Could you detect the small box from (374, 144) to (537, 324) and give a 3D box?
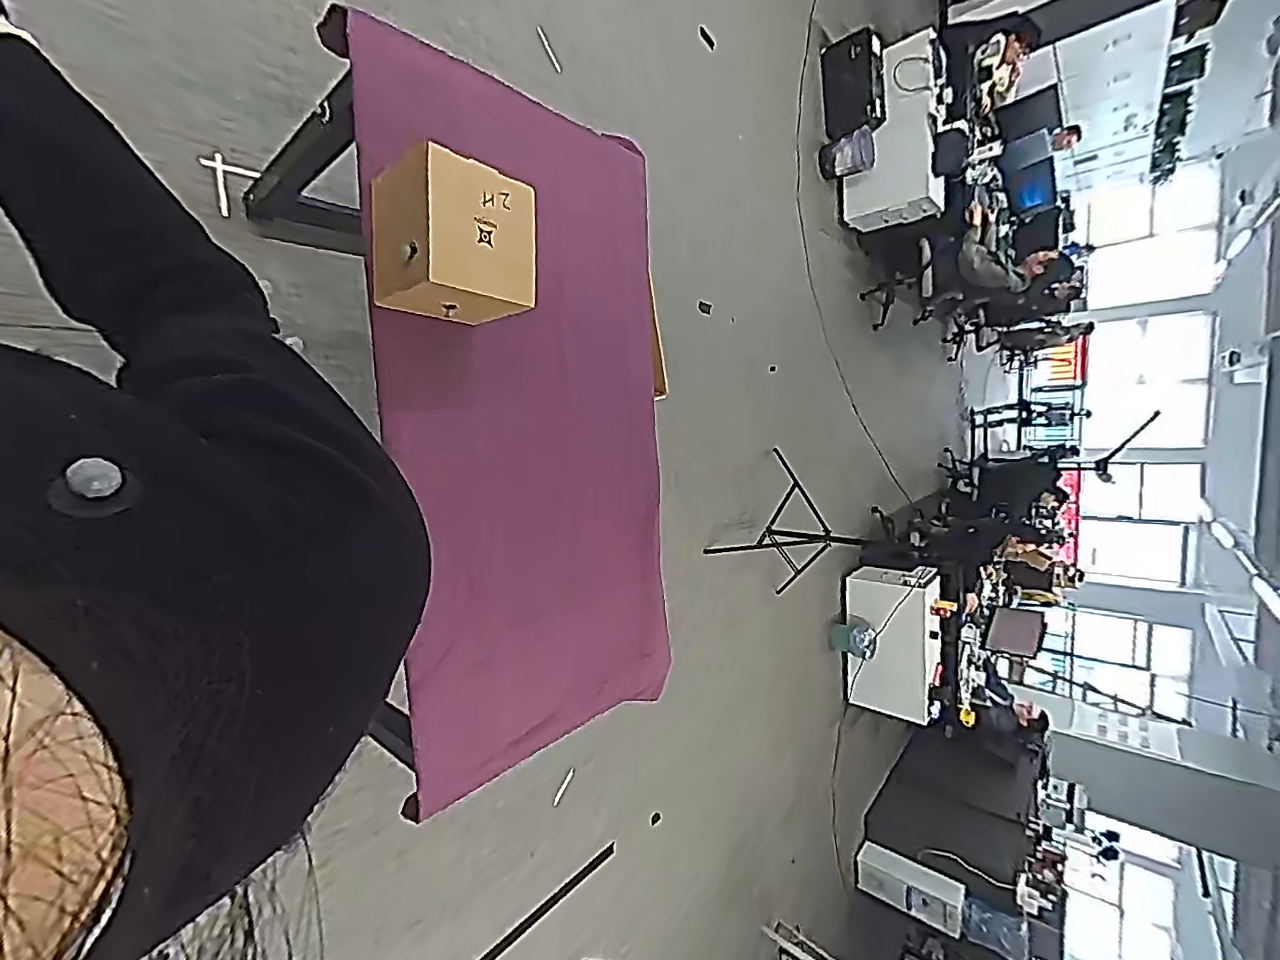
[{"bbox_3d":[-0.268,-0.336,0.785,0.168,0.176,0.179,-3,94,-49],"label":"small box"}]
